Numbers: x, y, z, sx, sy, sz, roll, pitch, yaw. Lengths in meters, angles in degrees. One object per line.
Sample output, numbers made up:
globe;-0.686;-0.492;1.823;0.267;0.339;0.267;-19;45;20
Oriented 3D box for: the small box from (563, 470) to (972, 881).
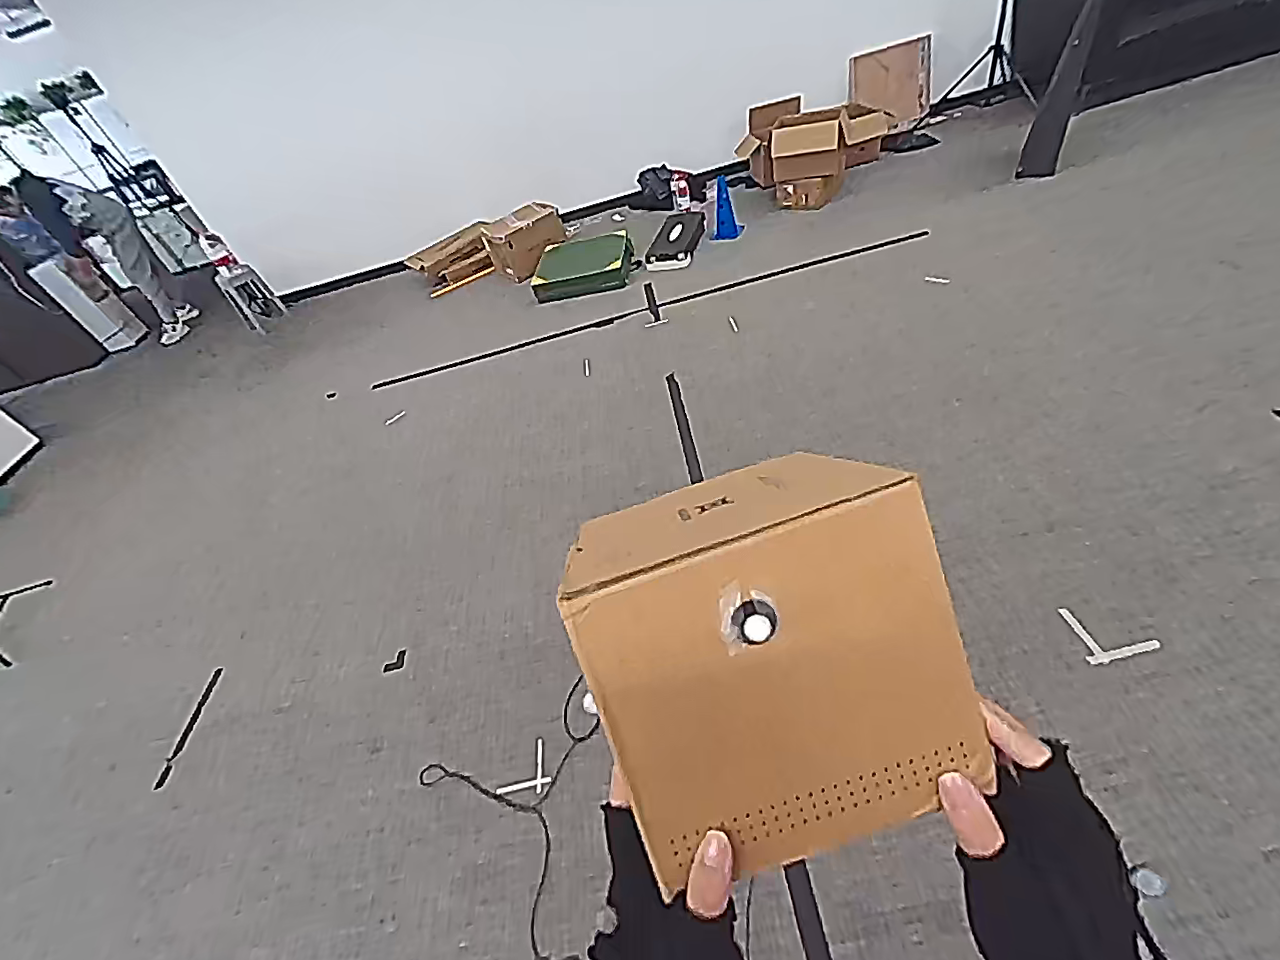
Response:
small box;0.069;0.105;0.347;0.179;0.176;0.168;-19;7;1
